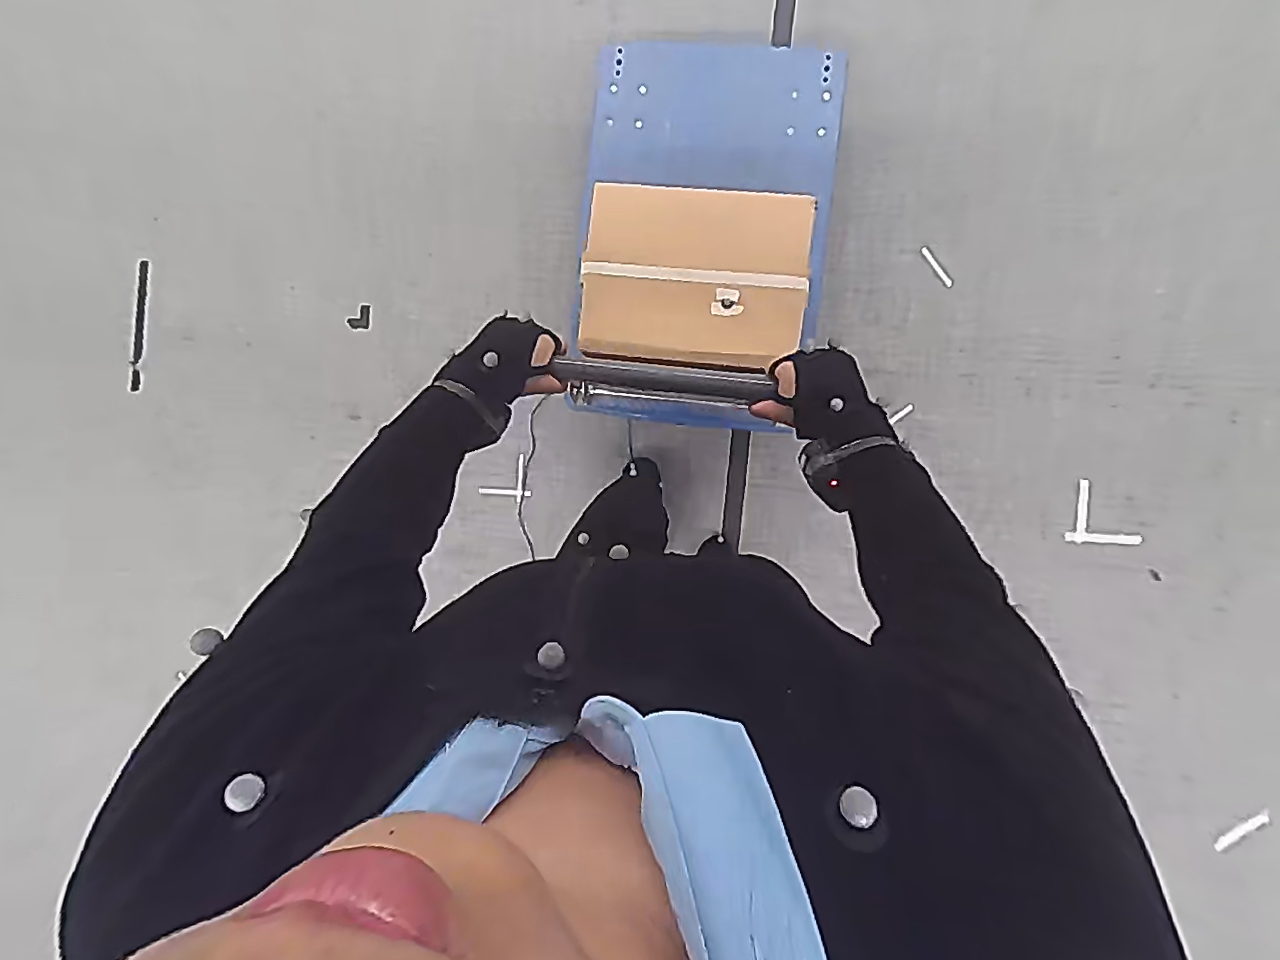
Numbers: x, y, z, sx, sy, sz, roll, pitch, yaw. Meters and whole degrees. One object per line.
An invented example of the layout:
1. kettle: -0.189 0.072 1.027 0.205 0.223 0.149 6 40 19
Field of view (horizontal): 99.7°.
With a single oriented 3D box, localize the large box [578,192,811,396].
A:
1. large box: 0.106 -0.363 1.128 0.408 0.320 0.320 7 93 5
